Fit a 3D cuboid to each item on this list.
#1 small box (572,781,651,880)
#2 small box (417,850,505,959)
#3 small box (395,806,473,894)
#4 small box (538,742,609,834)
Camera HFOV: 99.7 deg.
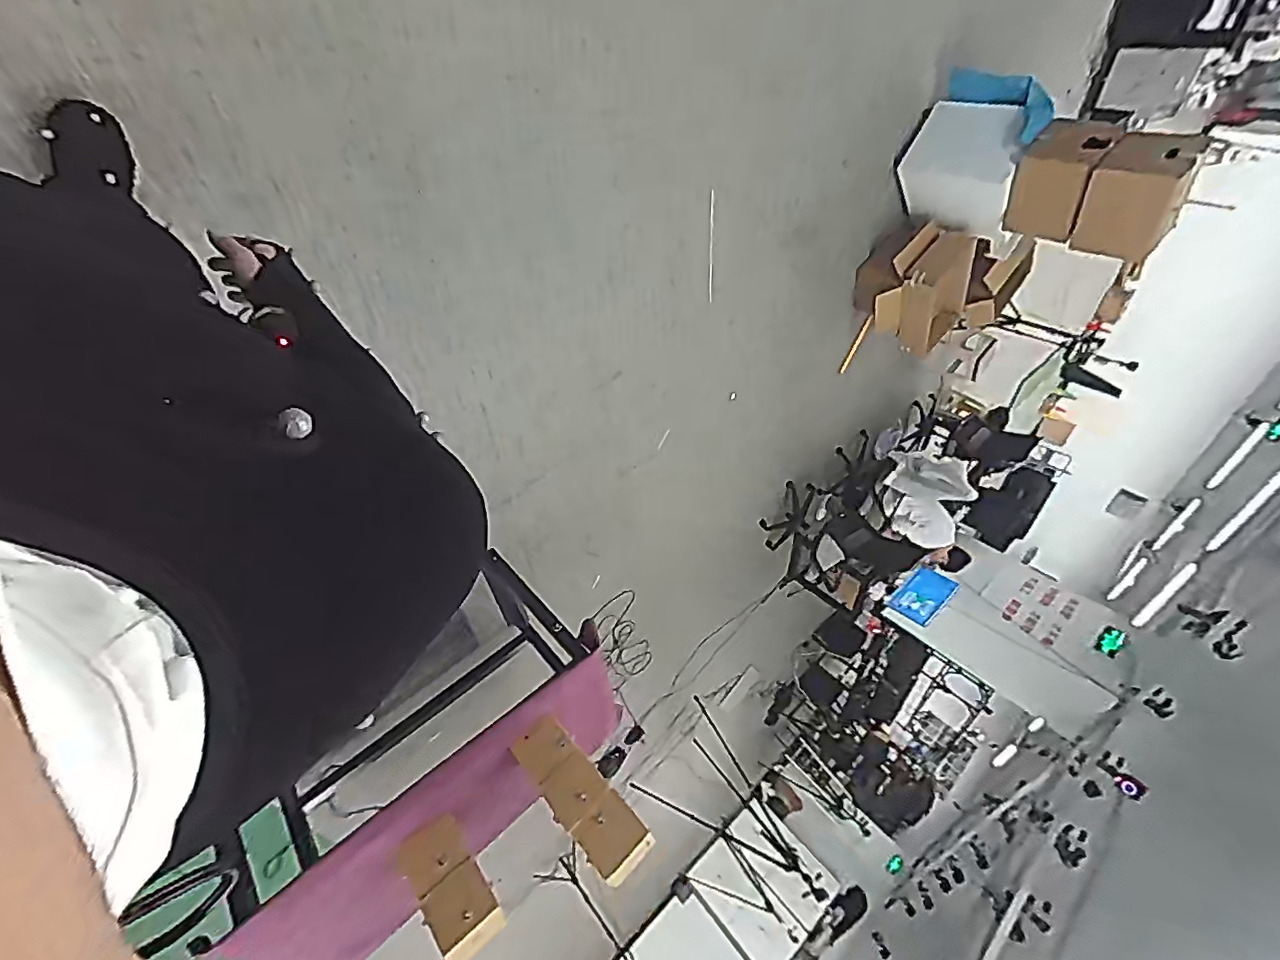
[{"bbox_3d":[-0.091,1.076,1.665,0.179,0.176,0.168,-37,143,-22],"label":"small box"},{"bbox_3d":[-0.526,1.244,1.593,0.179,0.176,0.168,-28,137,-32],"label":"small box"},{"bbox_3d":[-0.634,1.168,1.688,0.179,0.176,0.168,-27,137,-32],"label":"small box"},{"bbox_3d":[-0.208,0.990,1.742,0.179,0.176,0.168,-38,143,-22],"label":"small box"}]
